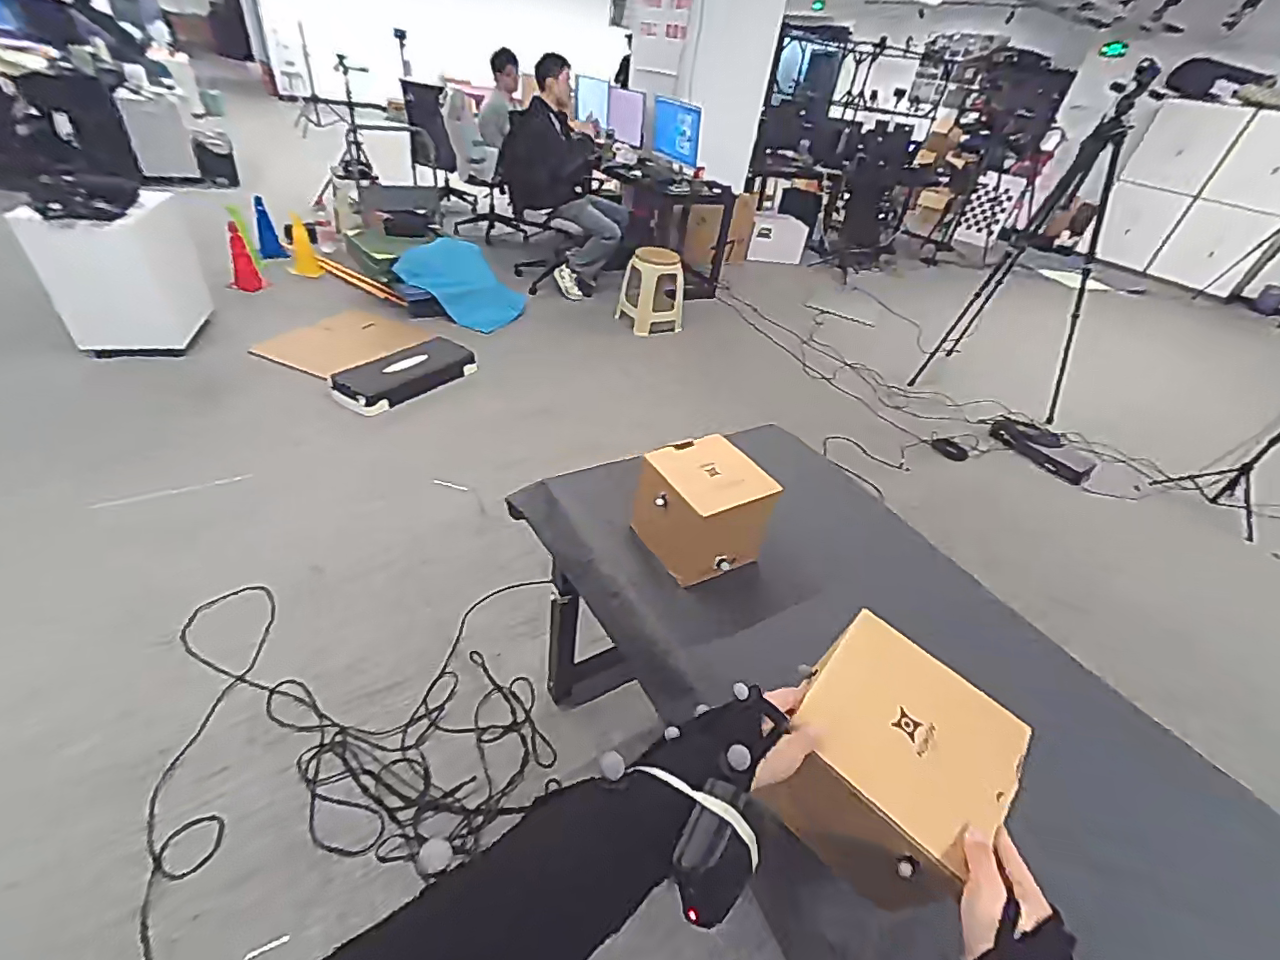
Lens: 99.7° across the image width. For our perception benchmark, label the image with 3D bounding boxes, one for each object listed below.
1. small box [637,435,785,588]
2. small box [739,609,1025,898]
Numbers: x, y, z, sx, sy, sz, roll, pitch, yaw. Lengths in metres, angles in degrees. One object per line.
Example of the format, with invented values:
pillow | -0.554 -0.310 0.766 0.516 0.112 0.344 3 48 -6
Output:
small box | 0.109 0.051 0.924 0.168 0.176 0.179 -17 46 -28
small box | 0.224 0.271 0.536 0.179 0.176 0.168 37 52 21
